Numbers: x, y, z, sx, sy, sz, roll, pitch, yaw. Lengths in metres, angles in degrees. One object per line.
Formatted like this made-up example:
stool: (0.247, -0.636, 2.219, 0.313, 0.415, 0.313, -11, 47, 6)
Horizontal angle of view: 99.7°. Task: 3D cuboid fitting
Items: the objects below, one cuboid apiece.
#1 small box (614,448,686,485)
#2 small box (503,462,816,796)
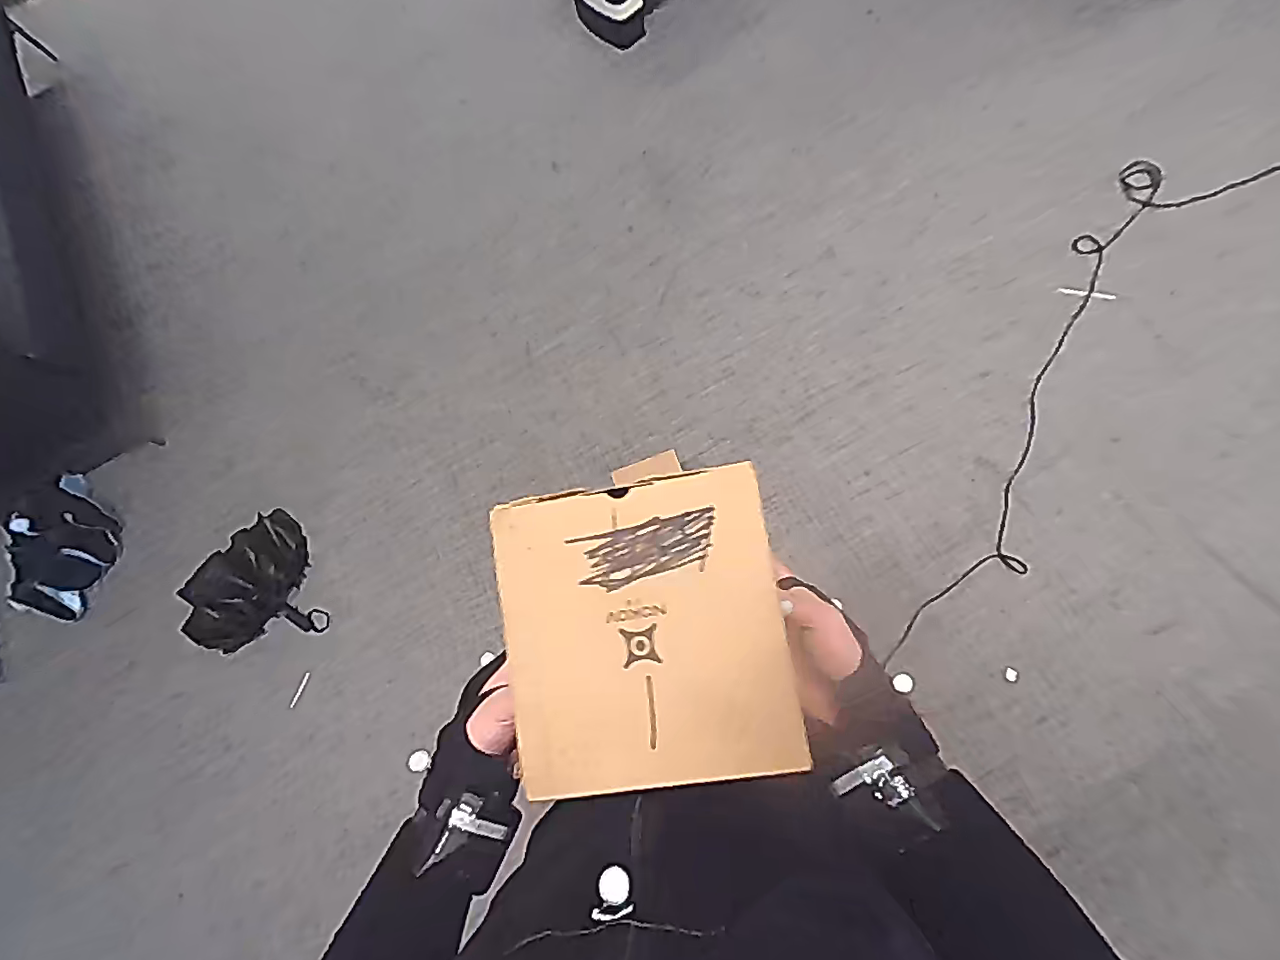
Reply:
small box: (0.051, 0.041, 1.419, 0.179, 0.176, 0.168, -21, 75, 3)
small box: (0.015, 0.095, 0.395, 0.168, 0.176, 0.179, -10, 83, 7)
